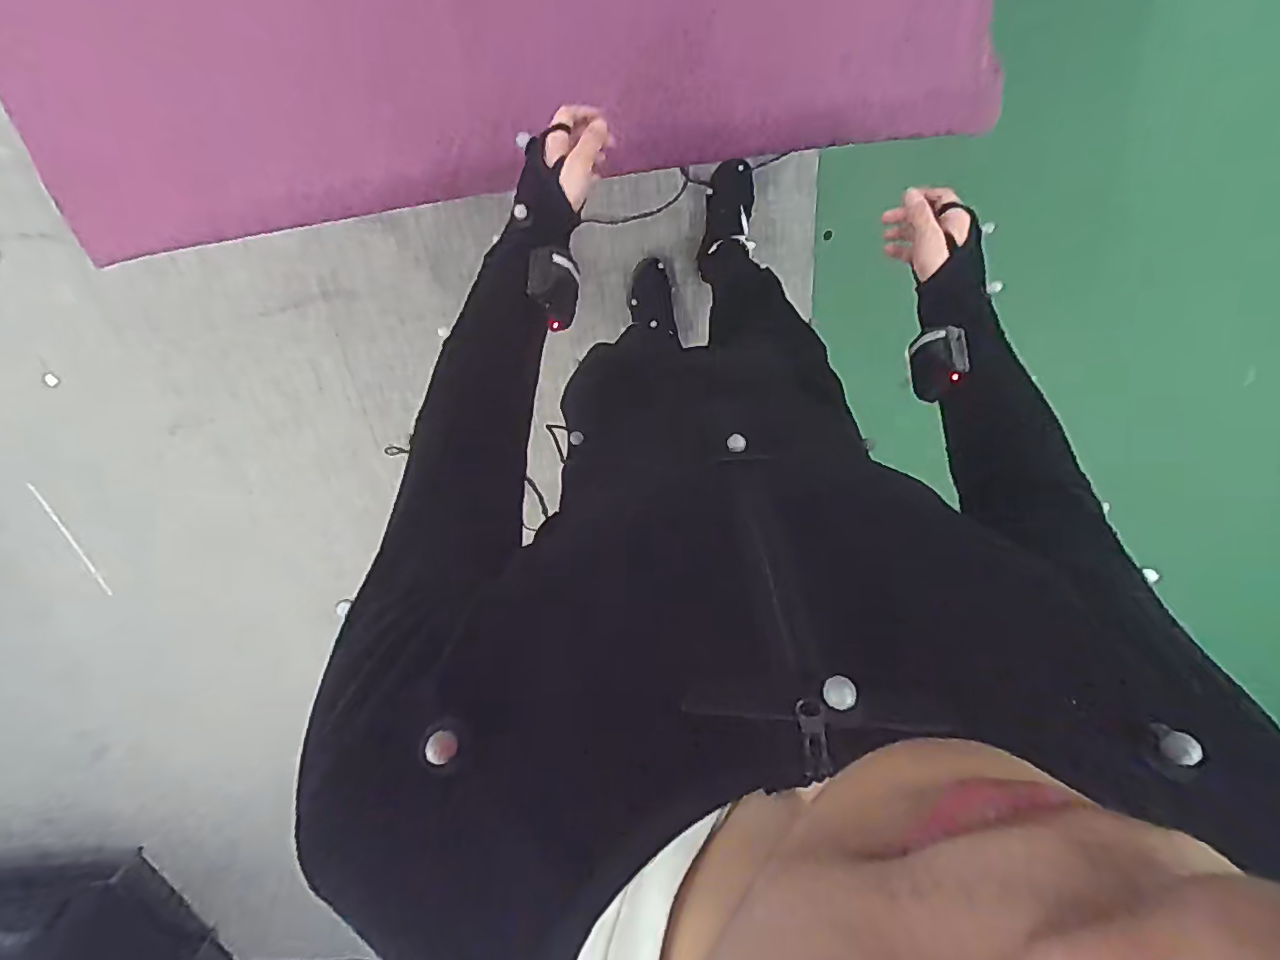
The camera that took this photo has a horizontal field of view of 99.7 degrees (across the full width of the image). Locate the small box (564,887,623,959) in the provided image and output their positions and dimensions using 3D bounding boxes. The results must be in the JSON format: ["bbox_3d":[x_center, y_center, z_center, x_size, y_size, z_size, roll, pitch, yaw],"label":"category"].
[{"bbox_3d":[-0.146,1.466,1.755,0.168,0.176,0.179,-3,115,3],"label":"small box"}]

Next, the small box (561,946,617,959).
[{"bbox_3d":[-0.151,1.524,1.600,0.168,0.176,0.179,-4,115,3],"label":"small box"}]
